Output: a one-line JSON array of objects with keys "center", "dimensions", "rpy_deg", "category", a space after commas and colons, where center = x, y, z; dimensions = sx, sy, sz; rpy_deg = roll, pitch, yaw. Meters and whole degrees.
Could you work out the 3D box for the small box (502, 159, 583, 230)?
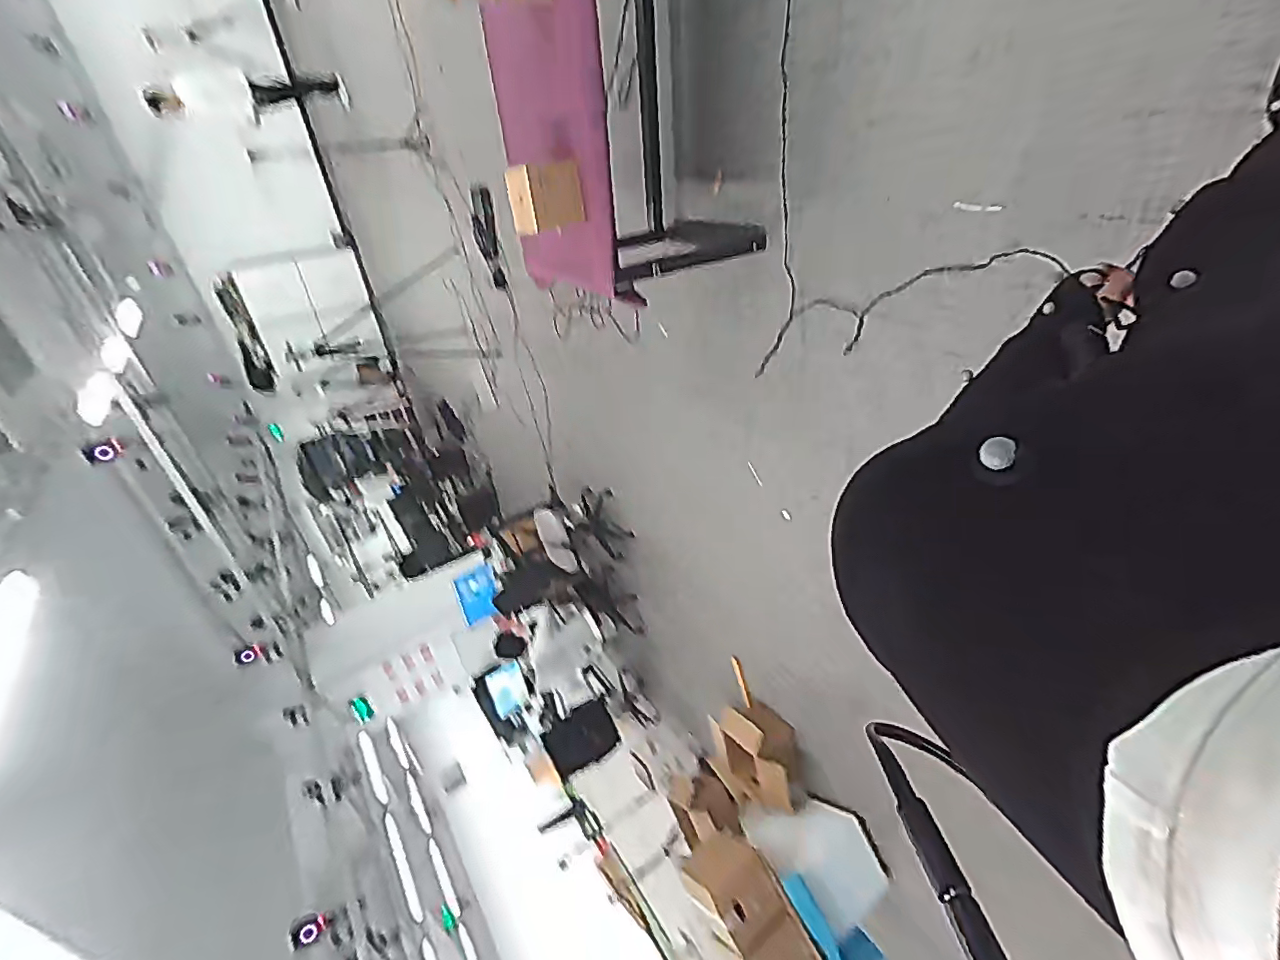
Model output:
[{"center": [-0.291, -0.864, 1.637], "dimensions": [0.168, 0.176, 0.179], "rpy_deg": [31, 138, 49], "category": "small box"}]
